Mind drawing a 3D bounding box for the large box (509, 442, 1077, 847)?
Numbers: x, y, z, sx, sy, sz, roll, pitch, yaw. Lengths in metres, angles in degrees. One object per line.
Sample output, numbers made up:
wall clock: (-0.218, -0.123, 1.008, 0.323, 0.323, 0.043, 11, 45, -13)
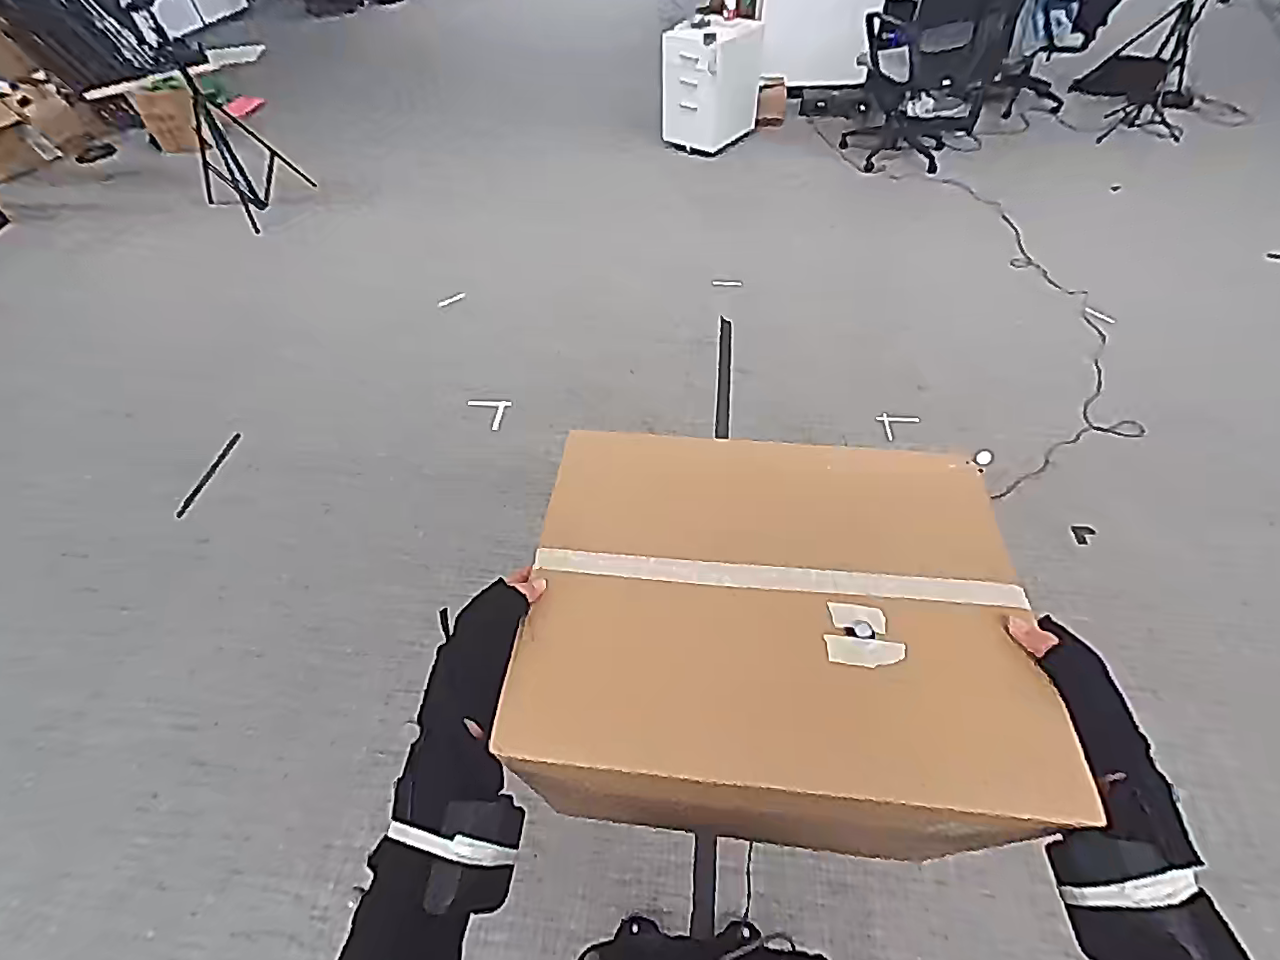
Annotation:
large box: (0.115, 0.181, 0.584, 0.408, 0.320, 0.320, 4, 53, 5)
